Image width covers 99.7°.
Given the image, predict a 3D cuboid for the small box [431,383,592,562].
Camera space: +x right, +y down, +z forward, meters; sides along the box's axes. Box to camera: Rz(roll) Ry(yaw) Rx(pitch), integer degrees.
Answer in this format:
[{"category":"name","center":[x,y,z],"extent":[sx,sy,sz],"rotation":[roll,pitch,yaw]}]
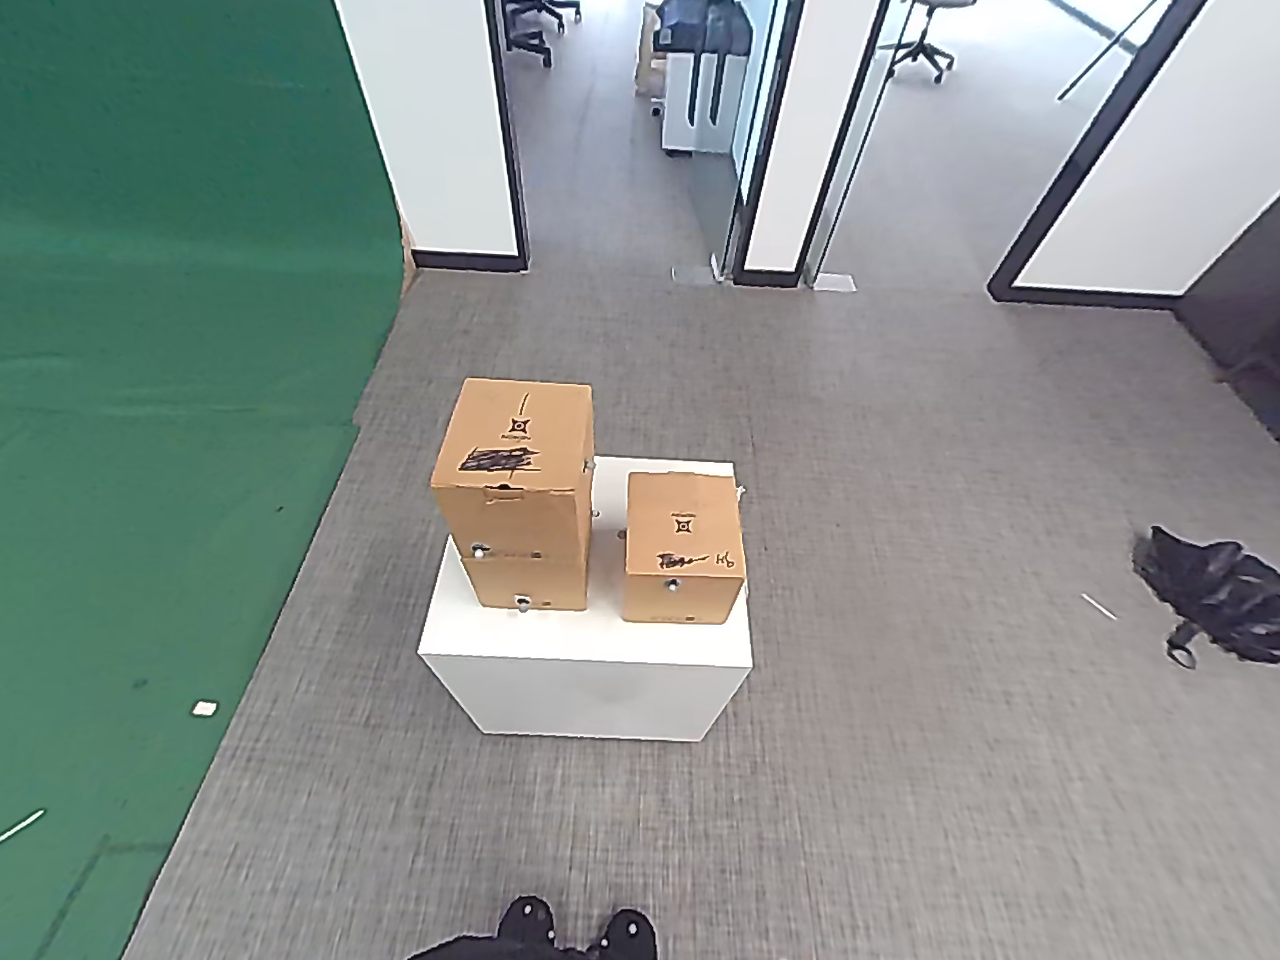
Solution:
[{"category":"small box","center":[-0.155,-0.005,0.723],"extent":[0.168,0.176,0.179],"rotation":[4,51,0]}]

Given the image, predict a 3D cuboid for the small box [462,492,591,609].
[{"category":"small box","center":[-0.163,0.085,0.840],"extent":[0.168,0.176,0.179],"rotation":[1,54,-3]}]

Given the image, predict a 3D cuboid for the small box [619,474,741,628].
[{"category":"small box","center":[0.055,0.113,0.850],"extent":[0.168,0.176,0.179],"rotation":[3,52,-2]}]
